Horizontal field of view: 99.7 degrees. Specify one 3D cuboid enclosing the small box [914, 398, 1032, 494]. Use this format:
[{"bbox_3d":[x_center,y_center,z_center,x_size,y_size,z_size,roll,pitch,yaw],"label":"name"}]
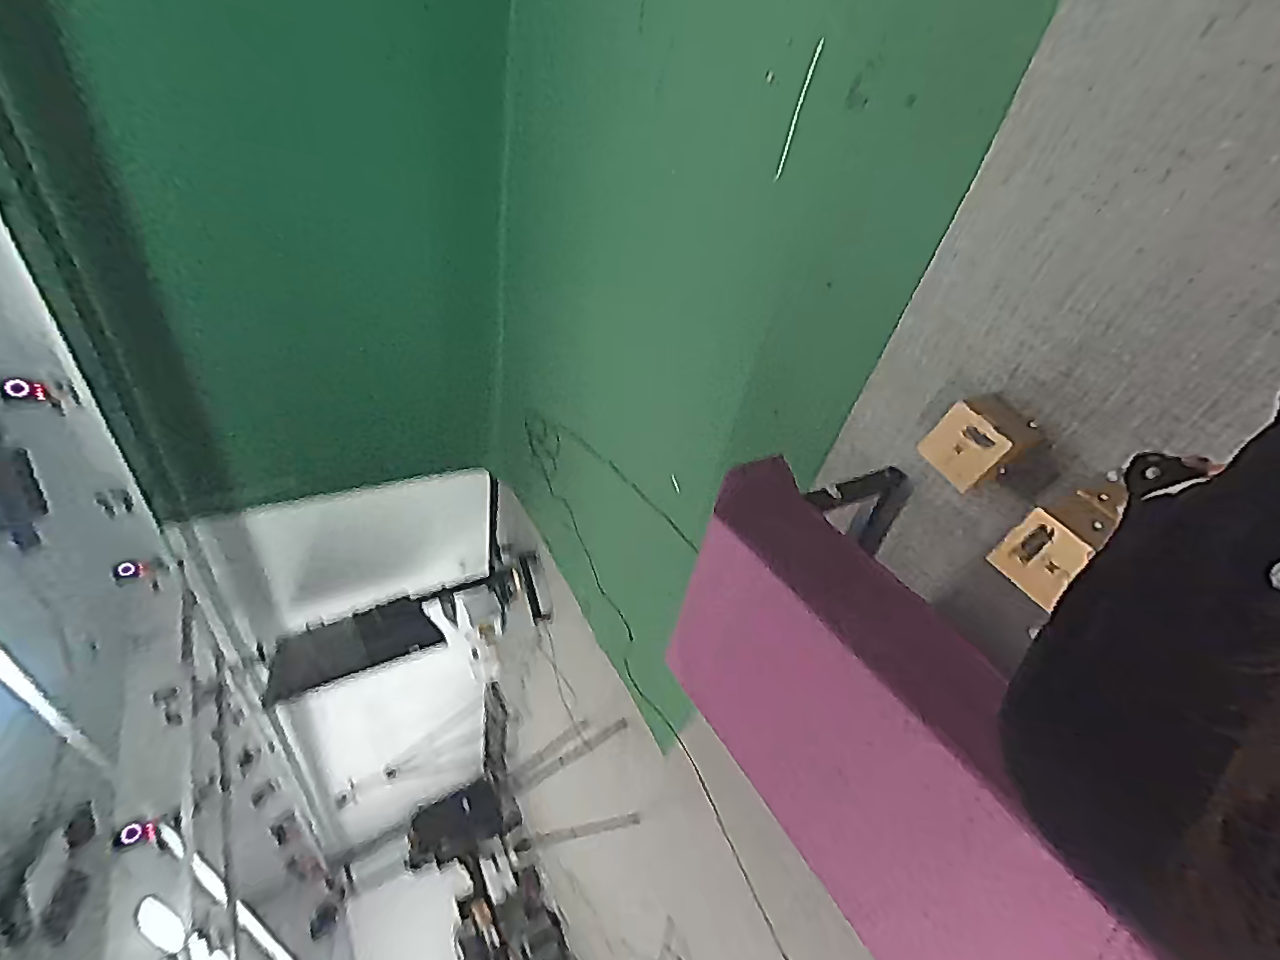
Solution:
[{"bbox_3d":[0.864,-0.093,1.396,0.168,0.176,0.179,57,144,31],"label":"small box"}]
